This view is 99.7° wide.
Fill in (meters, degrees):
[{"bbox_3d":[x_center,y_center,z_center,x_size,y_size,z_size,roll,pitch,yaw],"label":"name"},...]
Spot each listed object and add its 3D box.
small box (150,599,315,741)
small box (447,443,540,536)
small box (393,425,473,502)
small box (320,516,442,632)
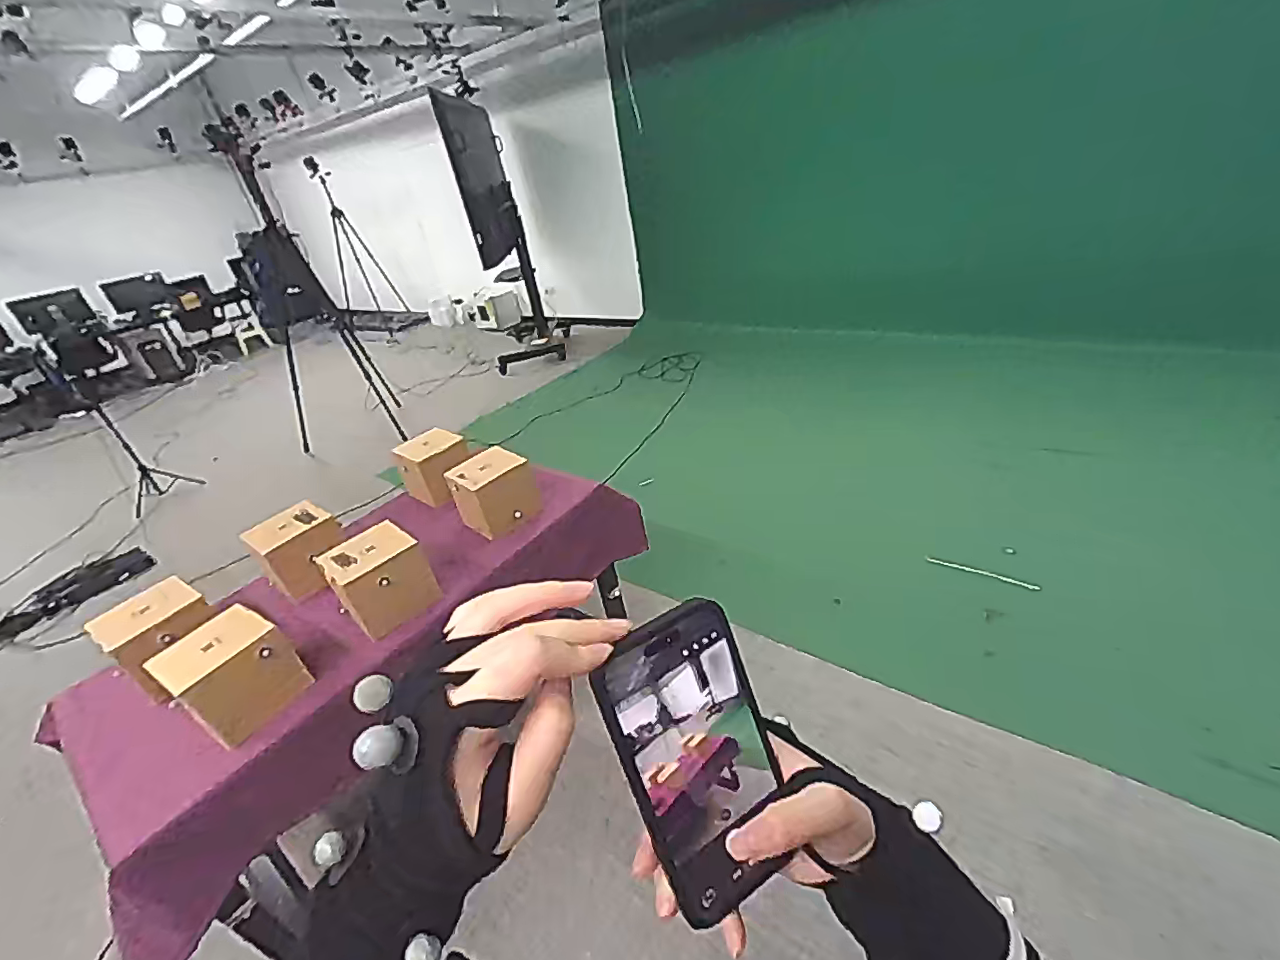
[{"bbox_3d":[-0.791,0.372,1.064,0.168,0.176,0.179,11,36,31],"label":"small box"},{"bbox_3d":[-0.397,0.024,1.500,0.168,0.176,0.179,21,43,41],"label":"small box"},{"bbox_3d":[-0.633,-0.052,1.692,0.179,0.176,0.168,19,43,38],"label":"small box"},{"bbox_3d":[-0.592,0.217,1.250,0.168,0.176,0.179,20,42,40],"label":"small box"}]
